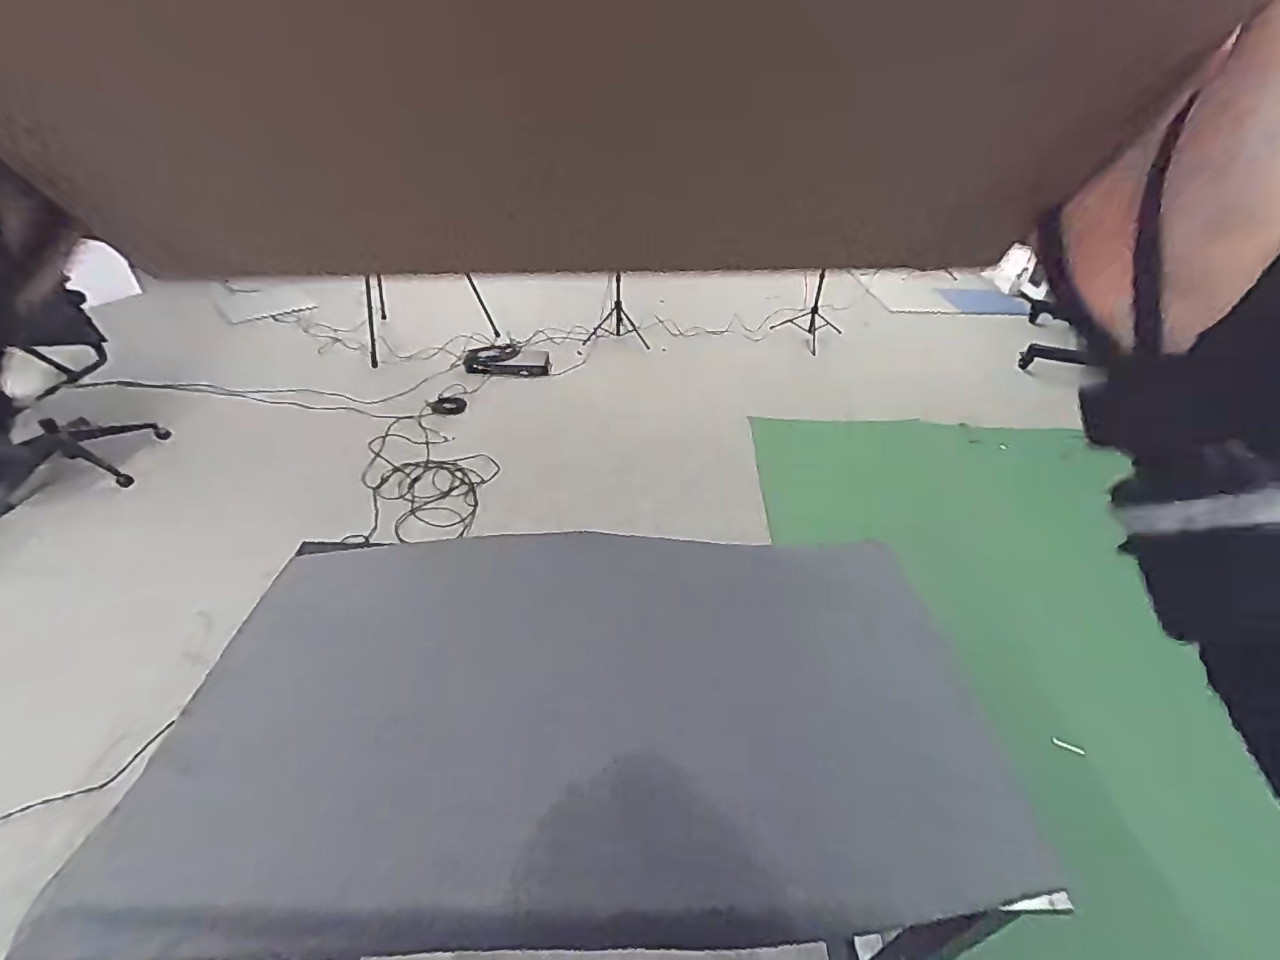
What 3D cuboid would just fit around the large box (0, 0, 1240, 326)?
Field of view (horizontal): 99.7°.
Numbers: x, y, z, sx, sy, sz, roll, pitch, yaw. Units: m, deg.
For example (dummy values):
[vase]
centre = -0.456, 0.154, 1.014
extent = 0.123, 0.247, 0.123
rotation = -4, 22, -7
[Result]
[large box]
centre = -0.030, -0.272, 0.181
extent = 0.408, 0.320, 0.320
rotation = -3, 75, -3
